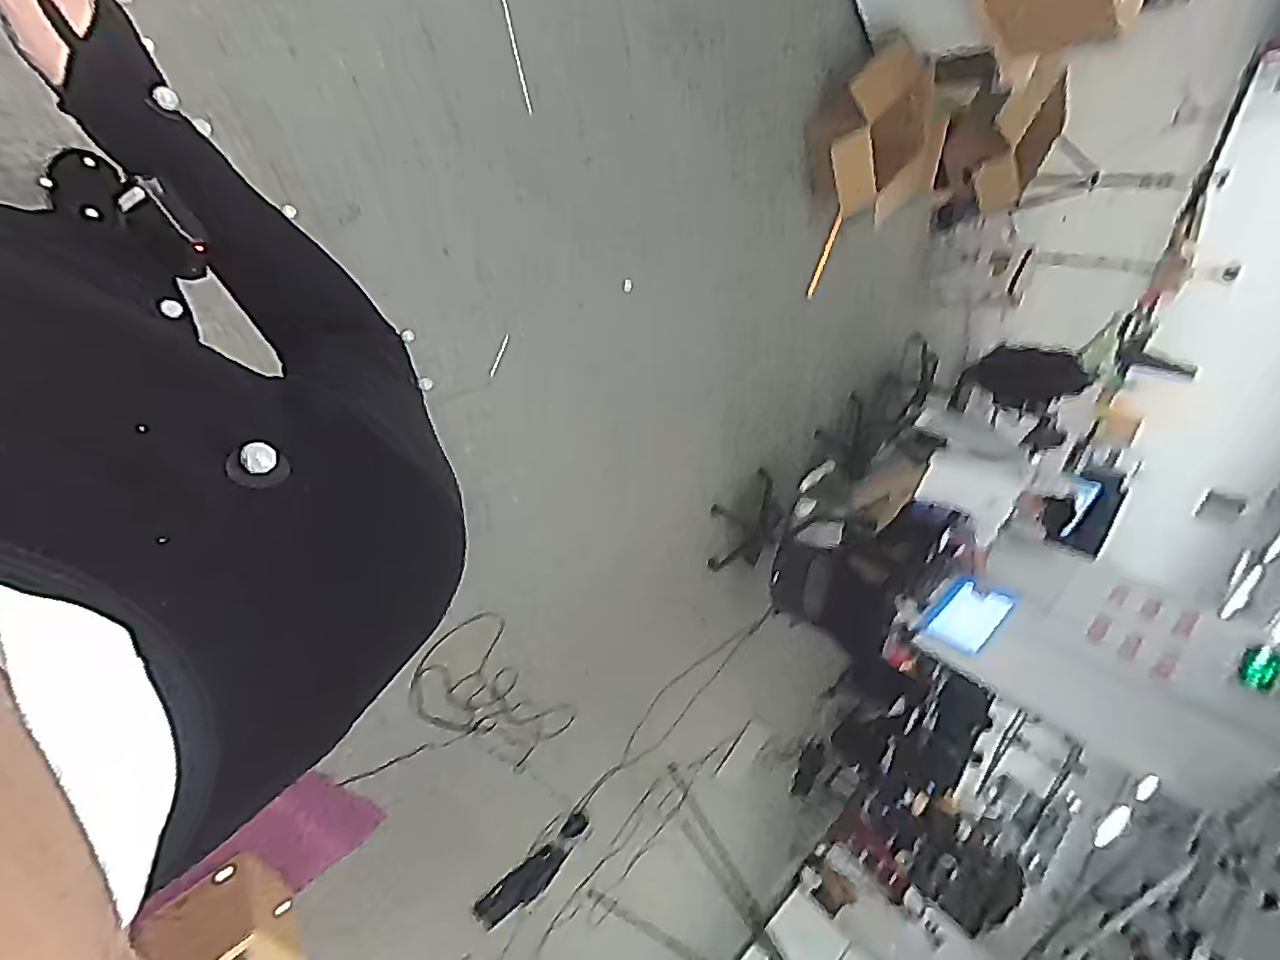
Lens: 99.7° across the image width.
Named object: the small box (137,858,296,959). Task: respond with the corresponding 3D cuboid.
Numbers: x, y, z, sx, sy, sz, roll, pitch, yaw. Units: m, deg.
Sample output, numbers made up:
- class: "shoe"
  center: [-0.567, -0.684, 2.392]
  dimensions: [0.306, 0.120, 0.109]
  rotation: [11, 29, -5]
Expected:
- class: "small box"
  center: [-0.764, 0.835, 0.976]
  dimensions: [0.168, 0.176, 0.179]
  rotation: [-30, 130, -28]
